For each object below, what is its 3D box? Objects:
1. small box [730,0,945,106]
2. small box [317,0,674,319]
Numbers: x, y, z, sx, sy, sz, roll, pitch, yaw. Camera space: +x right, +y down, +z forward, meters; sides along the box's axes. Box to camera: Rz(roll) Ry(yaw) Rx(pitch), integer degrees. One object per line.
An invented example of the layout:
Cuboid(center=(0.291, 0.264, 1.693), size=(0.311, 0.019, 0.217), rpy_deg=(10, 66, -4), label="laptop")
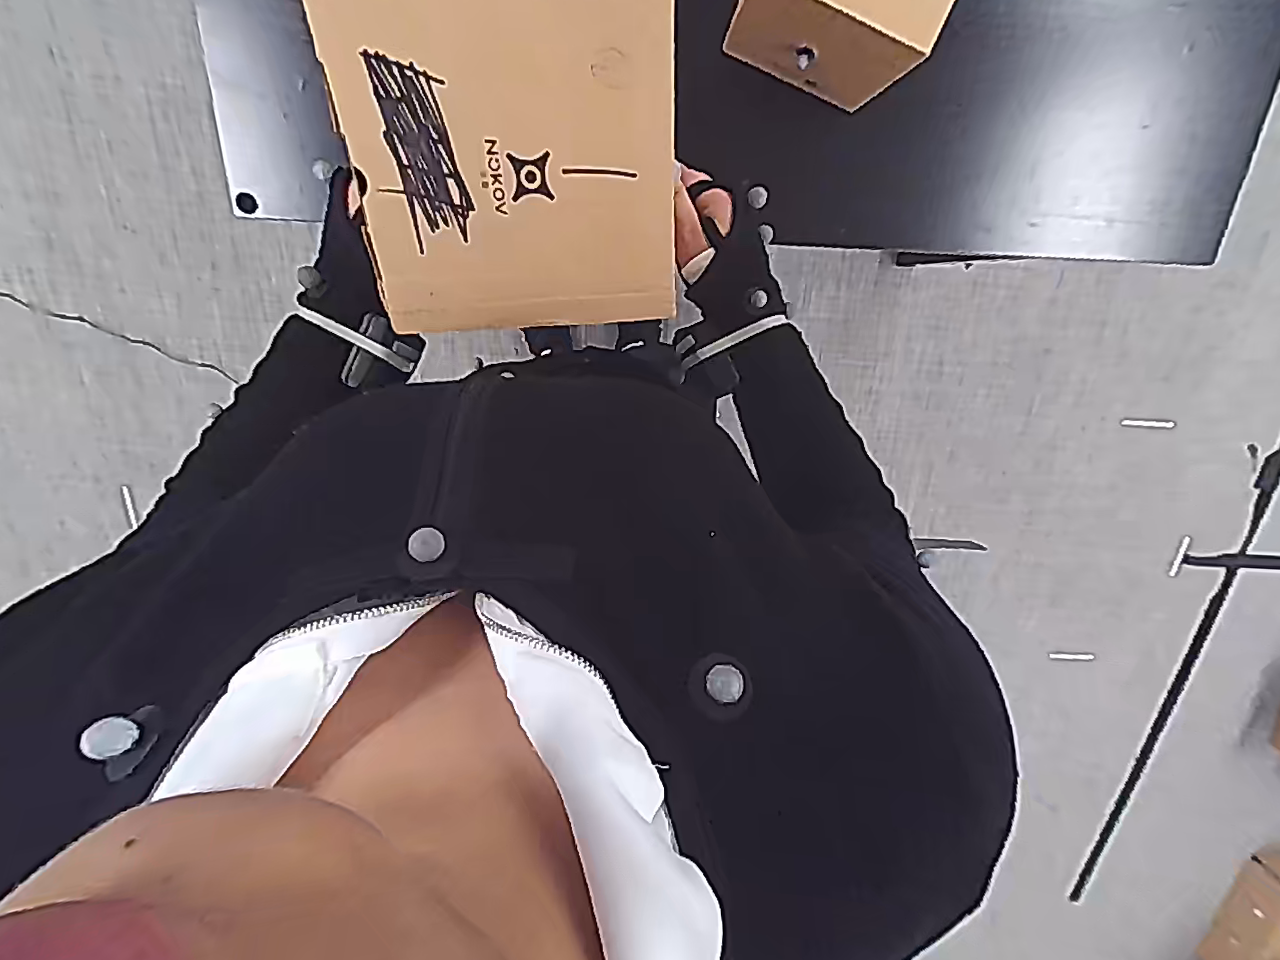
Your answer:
Cuboid(center=(0.198, -0.500, 0.515), size=(0.168, 0.176, 0.179), rpy_deg=(19, 107, -9), label="small box")
Cuboid(center=(-0.072, -0.214, 0.369), size=(0.179, 0.176, 0.168), rpy_deg=(-3, 122, -2), label="small box")
